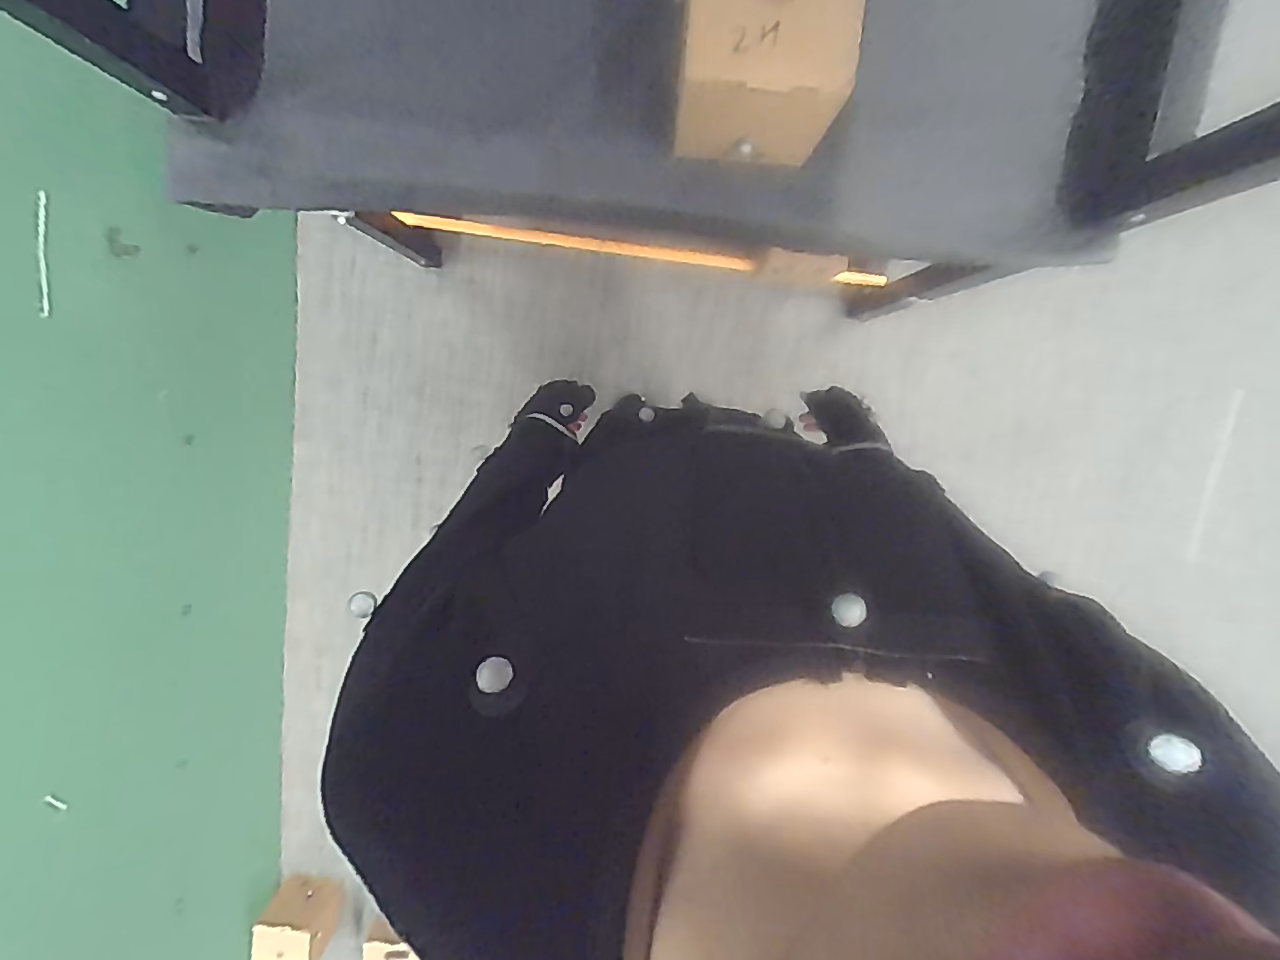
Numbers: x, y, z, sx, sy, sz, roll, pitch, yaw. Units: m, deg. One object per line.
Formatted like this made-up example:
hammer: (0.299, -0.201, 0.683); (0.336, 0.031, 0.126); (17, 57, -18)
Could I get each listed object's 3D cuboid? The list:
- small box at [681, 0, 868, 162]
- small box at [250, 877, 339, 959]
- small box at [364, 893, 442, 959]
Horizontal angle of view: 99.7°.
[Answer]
small box: (0.136, -0.483, 0.589); (0.168, 0.176, 0.179); (5, 98, 0)
small box: (-1.028, 1.344, 1.617); (0.168, 0.176, 0.179); (9, 98, -2)
small box: (-0.707, 1.387, 1.621); (0.168, 0.176, 0.179); (3, 99, 0)
